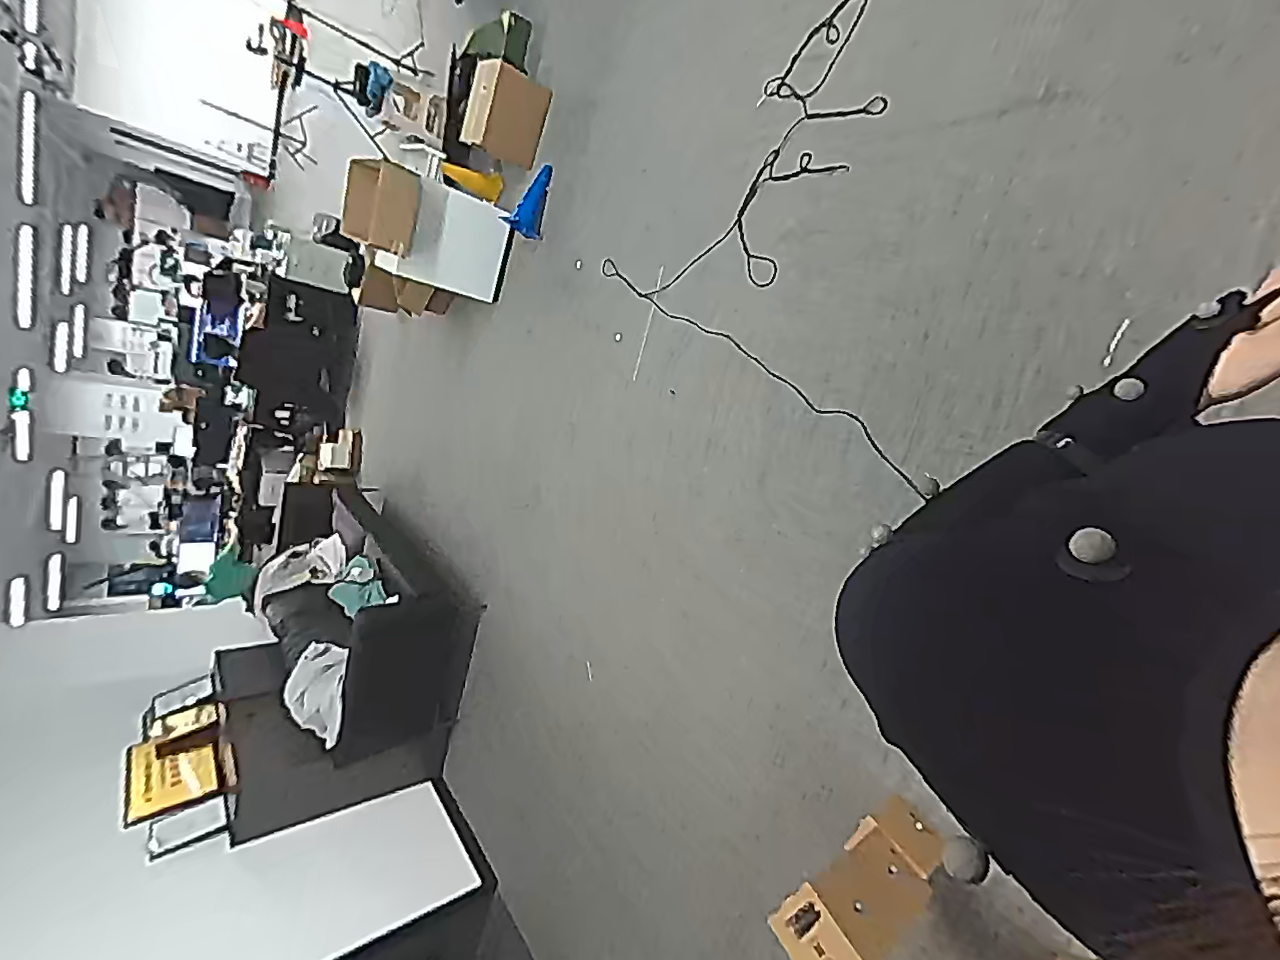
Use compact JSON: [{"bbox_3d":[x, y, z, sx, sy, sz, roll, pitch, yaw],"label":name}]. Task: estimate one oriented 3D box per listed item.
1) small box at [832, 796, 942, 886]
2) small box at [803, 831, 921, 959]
[{"bbox_3d":[0.633,0.957,1.381,0.168,0.176,0.179,40,115,40],"label":"small box"},{"bbox_3d":[0.523,0.966,1.260,0.168,0.176,0.179,45,118,39],"label":"small box"}]
